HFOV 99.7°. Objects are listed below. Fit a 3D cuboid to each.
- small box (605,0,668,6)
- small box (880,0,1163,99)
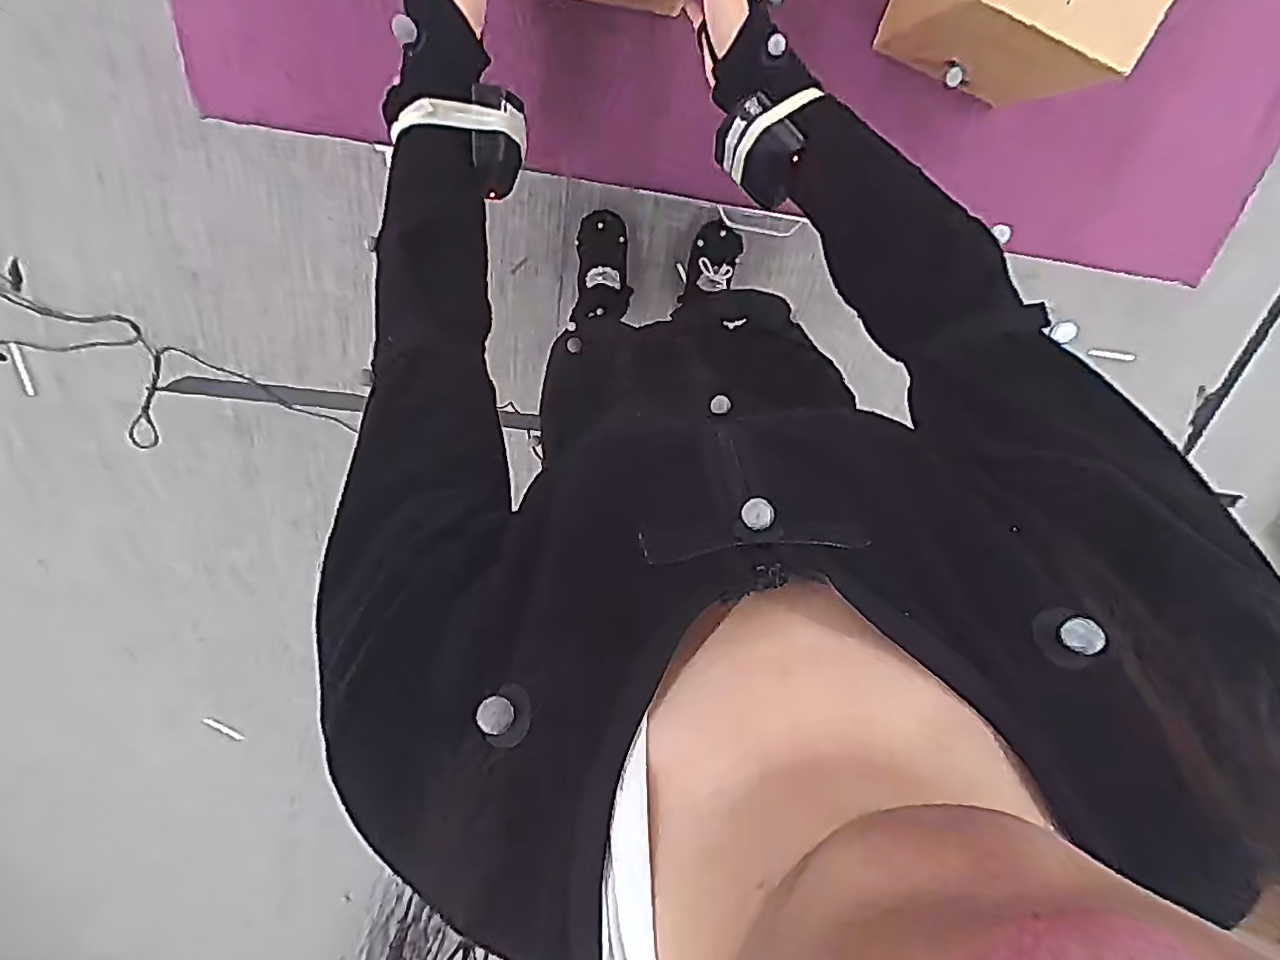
[{"bbox_3d":[-0.029,-0.506,0.420,0.179,0.176,0.168,4,117,-8],"label":"small box"},{"bbox_3d":[0.350,-0.475,0.479,0.168,0.176,0.179,14,116,-13],"label":"small box"}]
